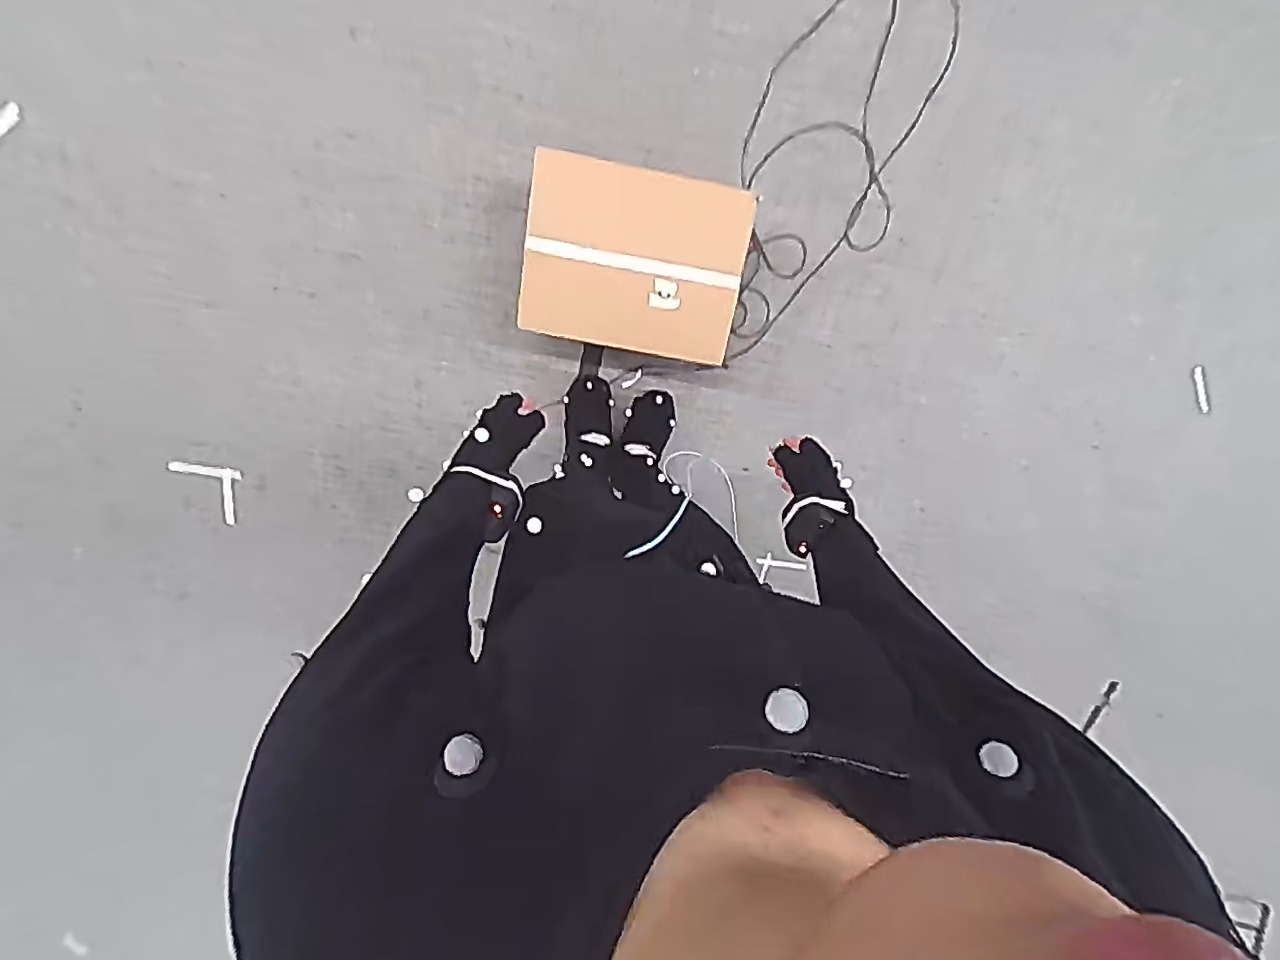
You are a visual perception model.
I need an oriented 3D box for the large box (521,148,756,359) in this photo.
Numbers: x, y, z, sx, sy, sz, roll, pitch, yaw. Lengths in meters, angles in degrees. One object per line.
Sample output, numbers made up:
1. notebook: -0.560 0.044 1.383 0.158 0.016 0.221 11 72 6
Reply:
1. large box: -0.017 -0.458 1.149 0.408 0.320 0.320 9 109 -5
